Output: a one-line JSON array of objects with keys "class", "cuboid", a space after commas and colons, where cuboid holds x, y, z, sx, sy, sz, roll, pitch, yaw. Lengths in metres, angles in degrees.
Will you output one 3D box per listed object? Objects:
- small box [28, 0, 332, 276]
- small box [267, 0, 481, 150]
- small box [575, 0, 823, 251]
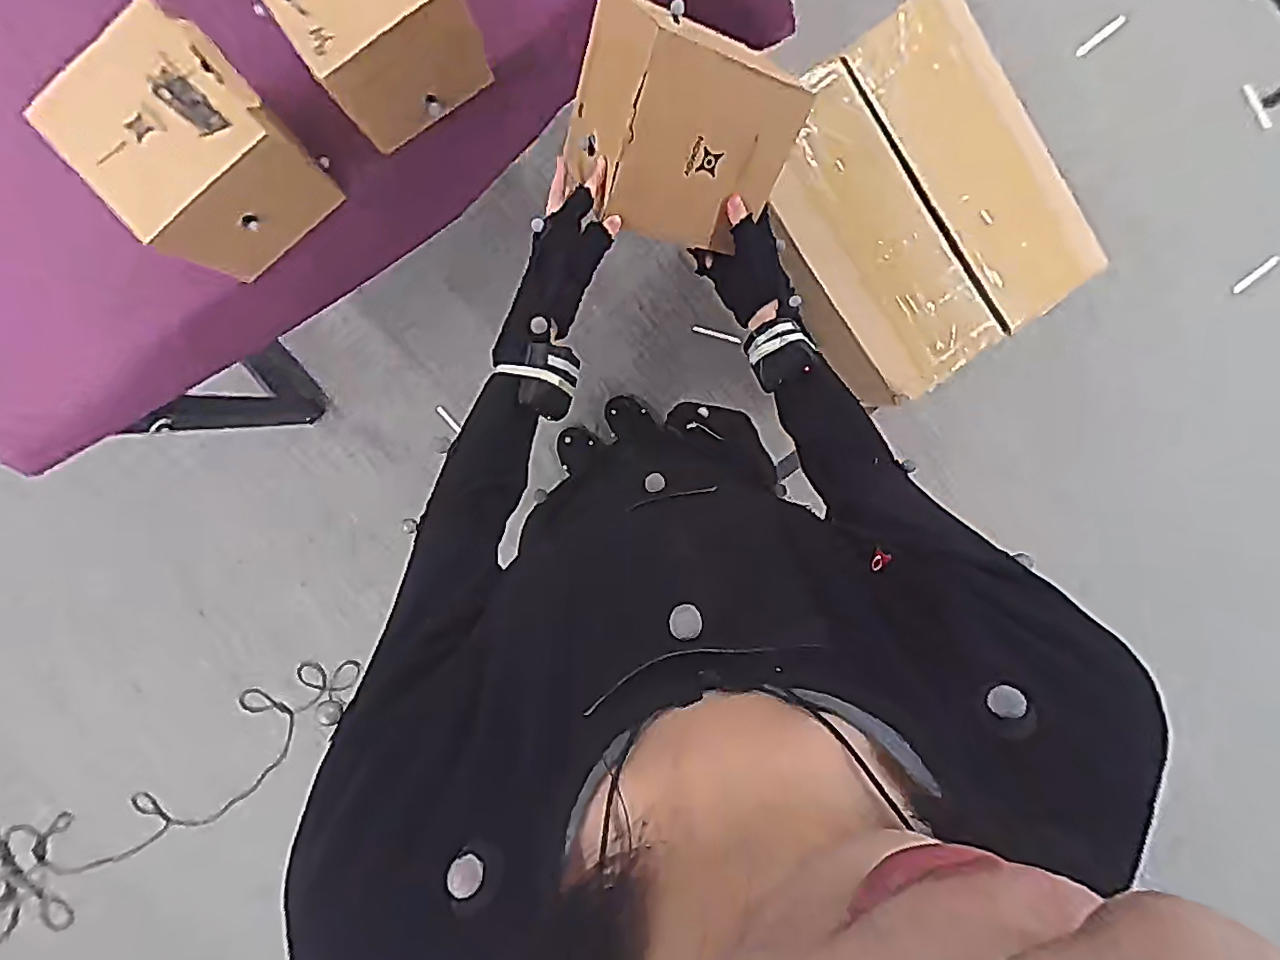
[{"class": "small box", "cuboid": [-0.495, -0.369, 0.621, 0.179, 0.176, 0.168, -40, 97, 3]}, {"class": "small box", "cuboid": [-0.301, -0.528, 0.614, 0.179, 0.176, 0.168, -34, 97, 1]}, {"class": "small box", "cuboid": [0.045, -0.374, 0.570, 0.179, 0.176, 0.168, -1, 139, -28]}]
